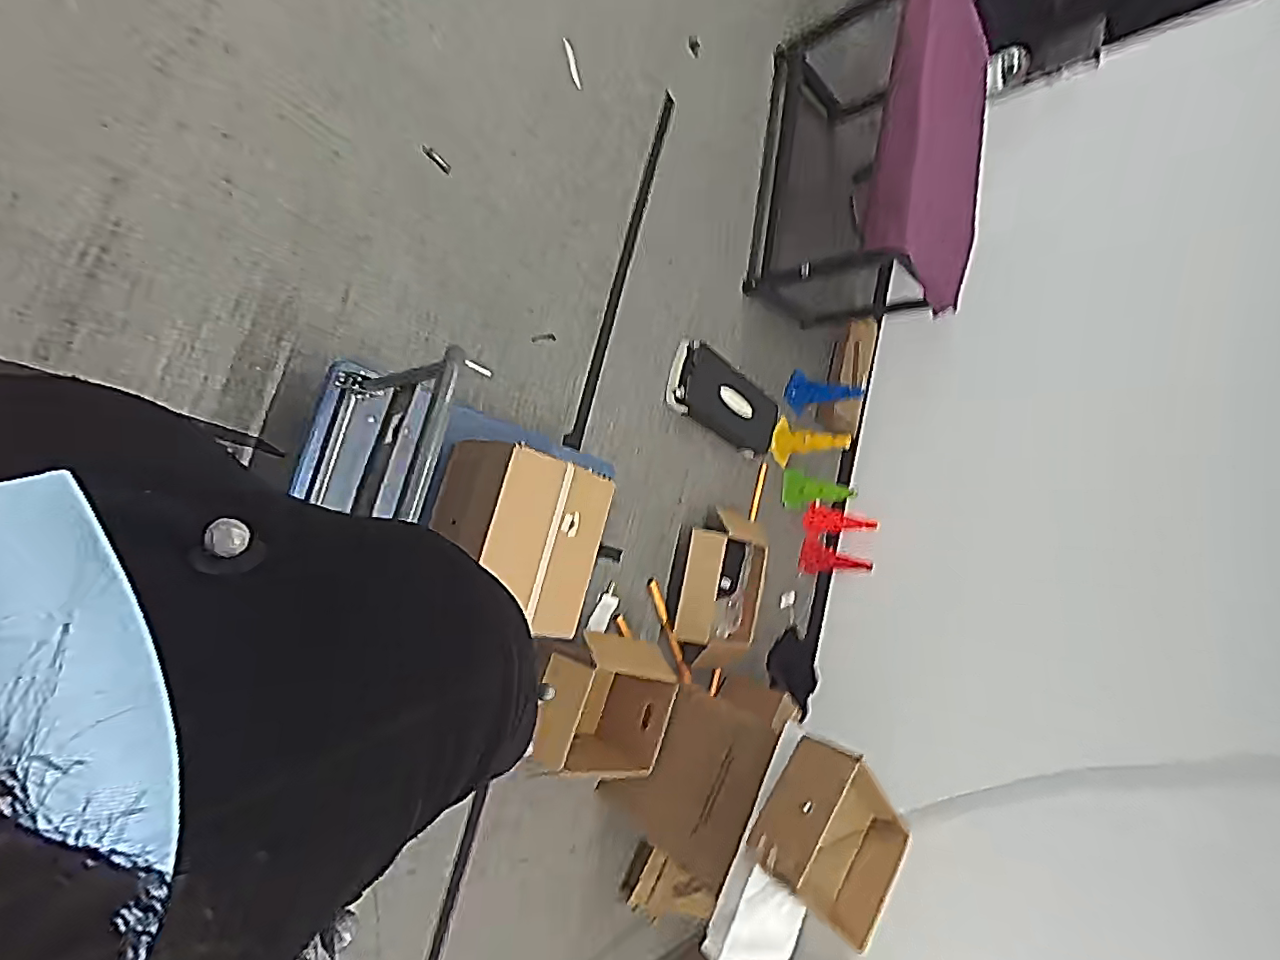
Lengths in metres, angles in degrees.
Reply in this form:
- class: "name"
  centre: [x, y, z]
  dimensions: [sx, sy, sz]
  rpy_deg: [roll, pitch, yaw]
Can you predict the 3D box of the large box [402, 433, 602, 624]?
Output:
- class: "large box"
  centre: [-0.348, 0.120, 1.369]
  dimensions: [0.320, 0.320, 0.408]
  rpy_deg: [23, 77, -44]
